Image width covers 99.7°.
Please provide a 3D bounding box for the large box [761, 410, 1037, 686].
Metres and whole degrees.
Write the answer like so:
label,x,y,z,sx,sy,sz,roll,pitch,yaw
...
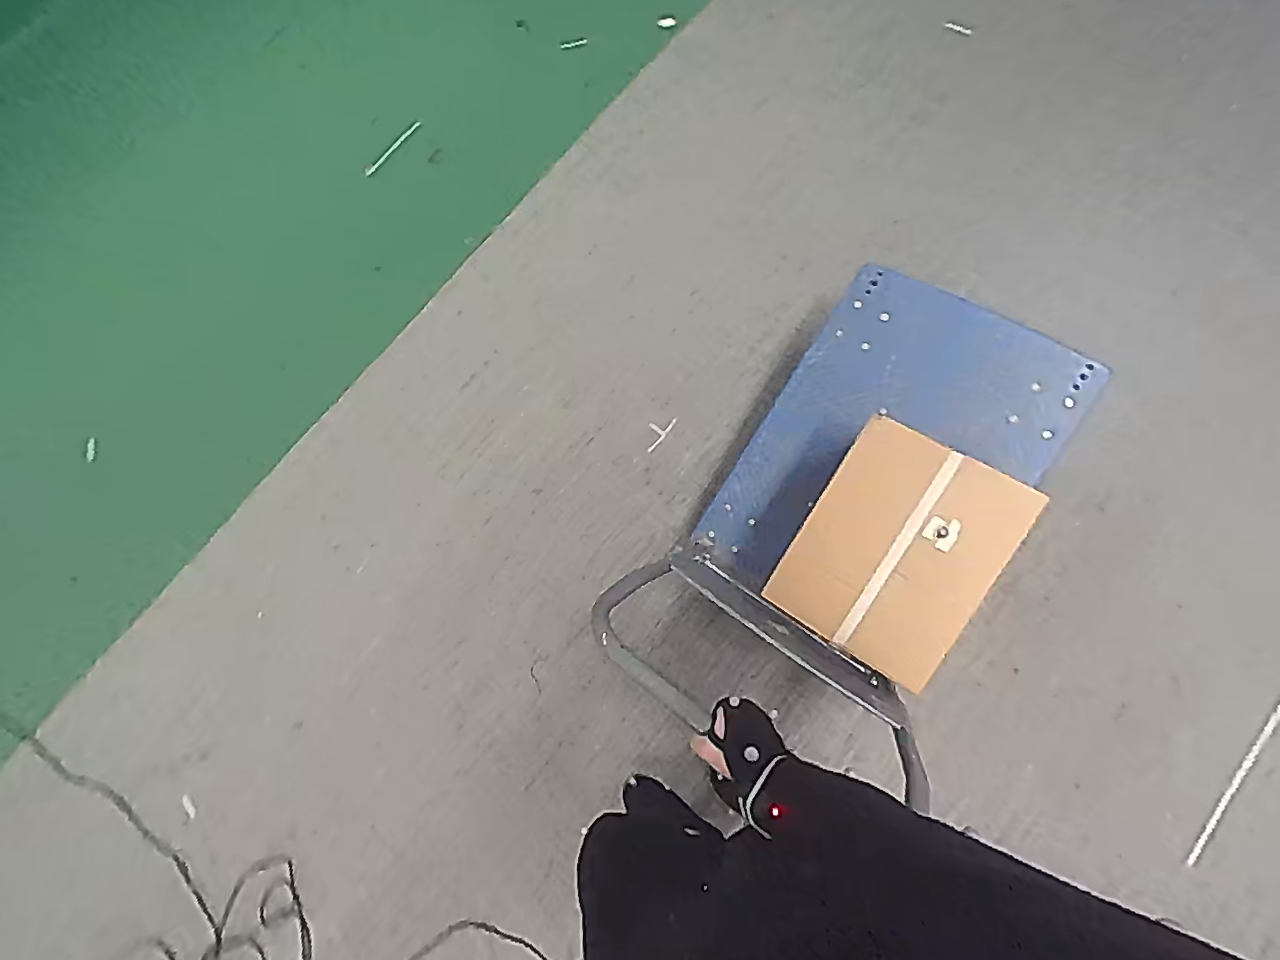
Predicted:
label,x,y,z,sx,sy,sz,roll,pitch,yaw
large box,0.491,0.130,1.105,0.320,0.320,0.408,32,95,17
